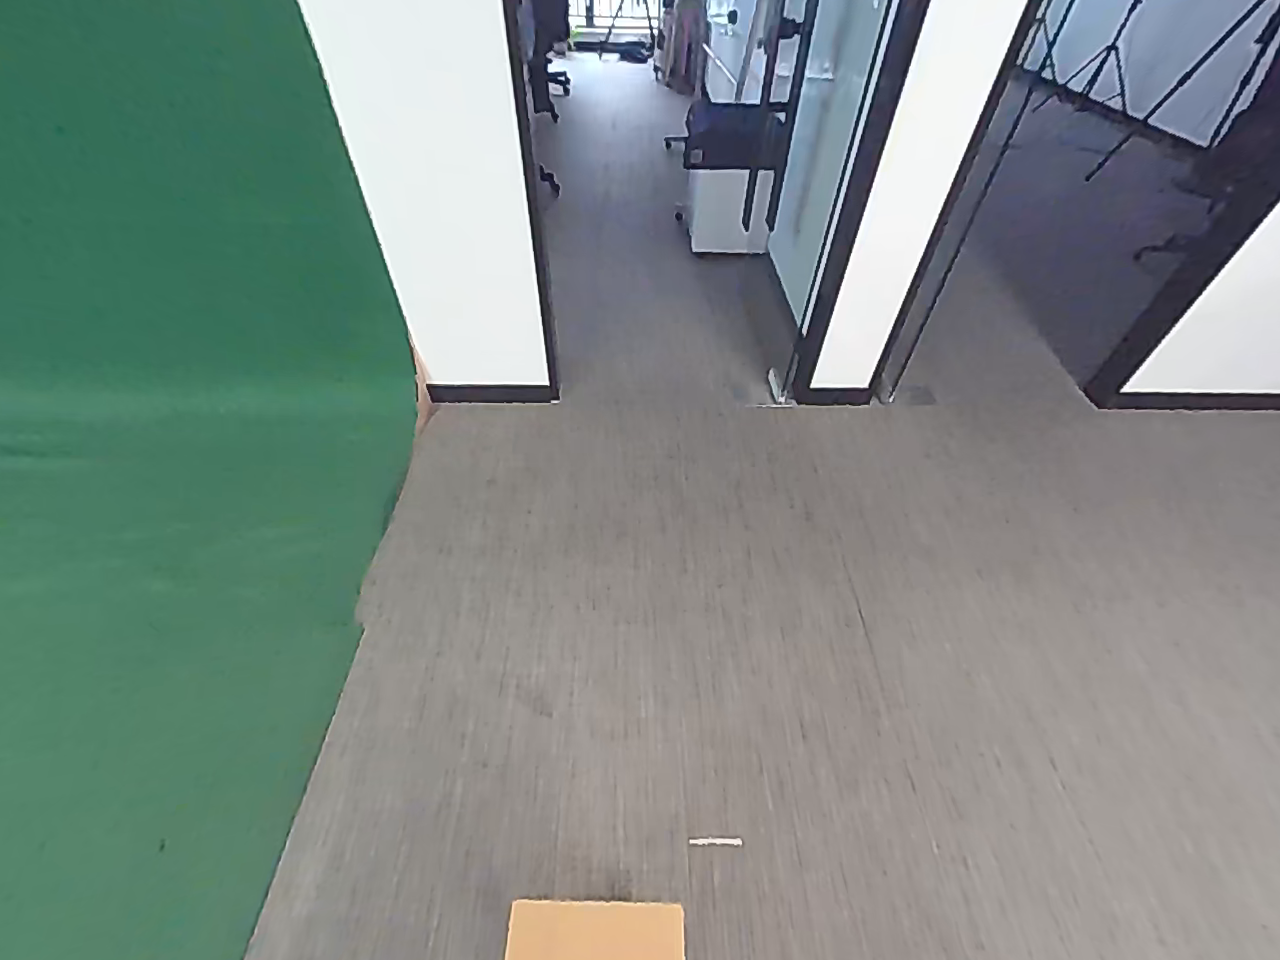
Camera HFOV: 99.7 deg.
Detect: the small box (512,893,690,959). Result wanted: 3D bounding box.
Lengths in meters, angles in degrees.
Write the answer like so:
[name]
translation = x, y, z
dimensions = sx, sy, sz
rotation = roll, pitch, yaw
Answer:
[small box]
translation = -0.038, 0.519, 0.529
dimensions = 0.168, 0.176, 0.179
rotation = 1, 52, 2
